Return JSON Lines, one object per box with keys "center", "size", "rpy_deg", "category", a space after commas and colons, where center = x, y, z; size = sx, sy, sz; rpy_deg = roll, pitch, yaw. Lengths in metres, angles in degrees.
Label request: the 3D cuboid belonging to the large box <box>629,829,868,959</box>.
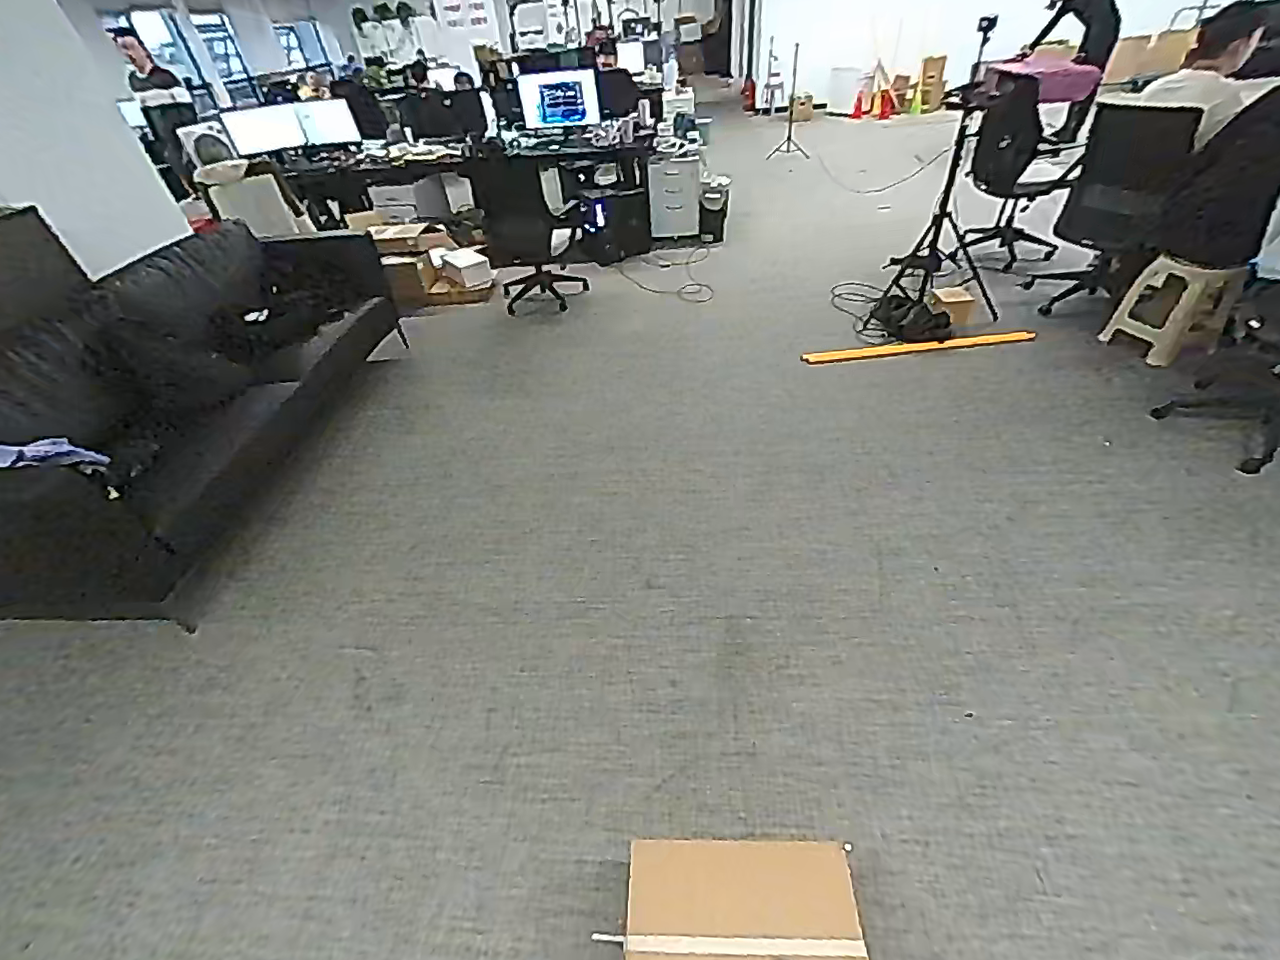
{"center": [0.191, 0.890, 1.025], "size": [0.408, 0.320, 0.320], "rpy_deg": [-2, 41, 5], "category": "large box"}
